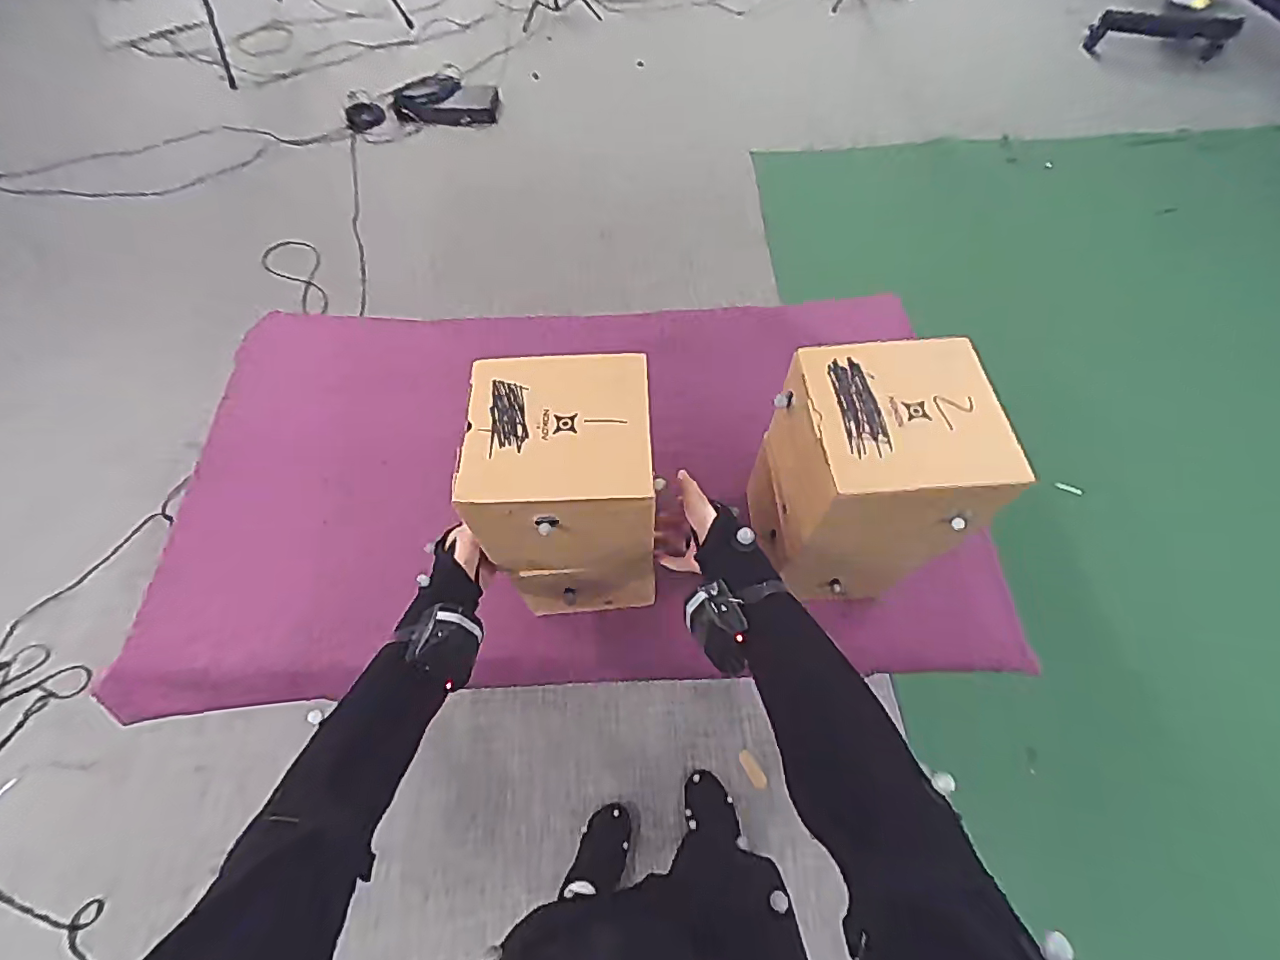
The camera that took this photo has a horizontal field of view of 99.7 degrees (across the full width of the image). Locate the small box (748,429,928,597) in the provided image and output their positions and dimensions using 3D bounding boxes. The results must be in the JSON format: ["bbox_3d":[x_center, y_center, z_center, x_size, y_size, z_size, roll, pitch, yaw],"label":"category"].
[{"bbox_3d":[0.244,0.051,0.715,0.168,0.176,0.179,-1,60,0],"label":"small box"}]

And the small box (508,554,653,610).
[{"bbox_3d":[-0.071,0.065,0.716,0.168,0.176,0.179,-5,60,-1],"label":"small box"}]

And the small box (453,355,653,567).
[{"bbox_3d":[-0.075,-0.013,0.572,0.179,0.176,0.168,0,60,-1],"label":"small box"}]
